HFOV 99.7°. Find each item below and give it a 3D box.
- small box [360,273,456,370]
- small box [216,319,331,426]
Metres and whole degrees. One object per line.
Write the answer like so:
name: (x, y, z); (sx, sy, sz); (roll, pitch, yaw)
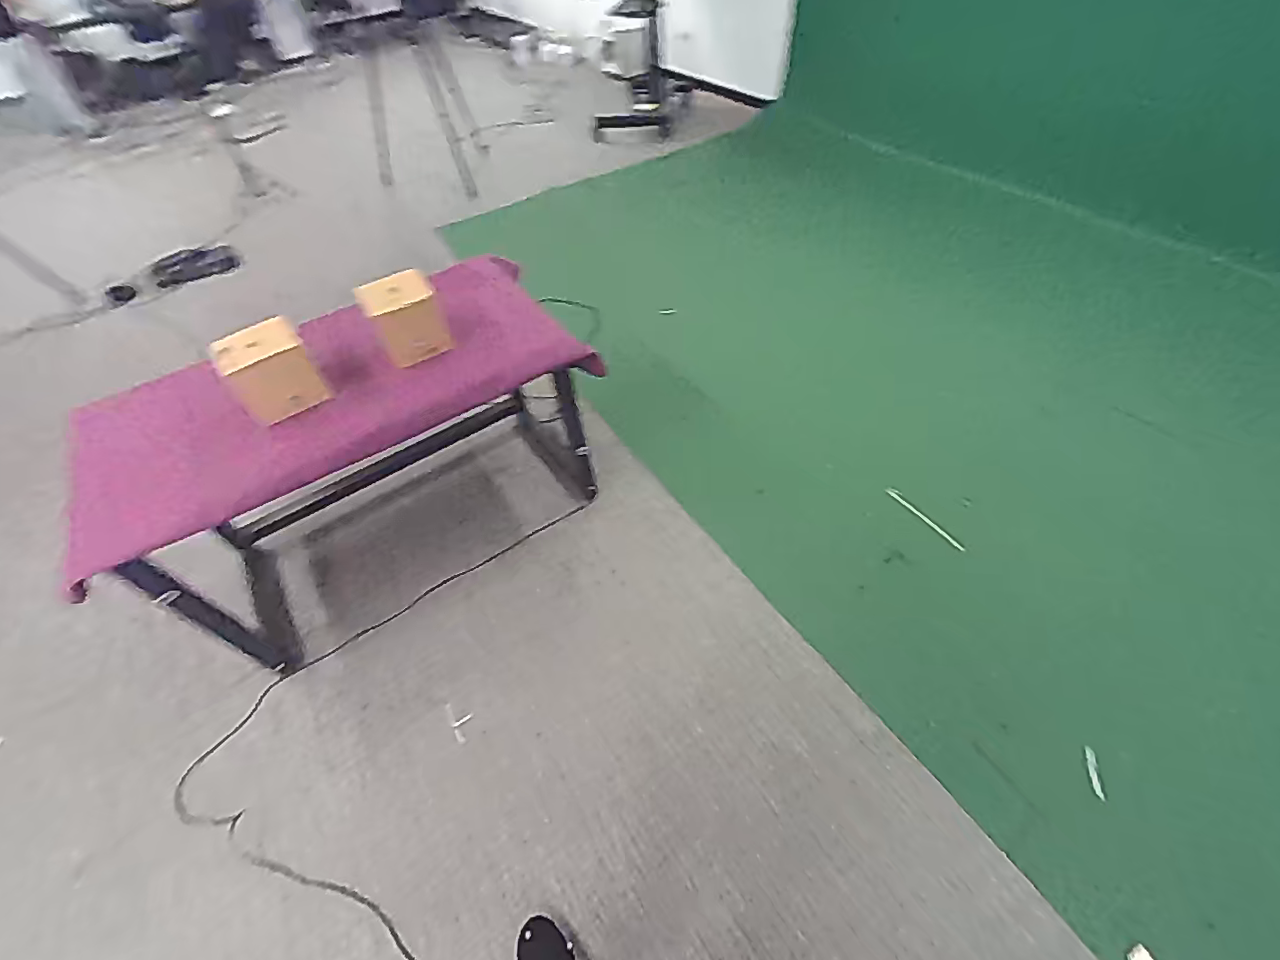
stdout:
small box: (-0.630, -0.433, 1.478); (0.168, 0.176, 0.179); (-28, 53, -17)
small box: (-0.914, -0.270, 1.366); (0.179, 0.176, 0.168); (-32, 55, -21)
